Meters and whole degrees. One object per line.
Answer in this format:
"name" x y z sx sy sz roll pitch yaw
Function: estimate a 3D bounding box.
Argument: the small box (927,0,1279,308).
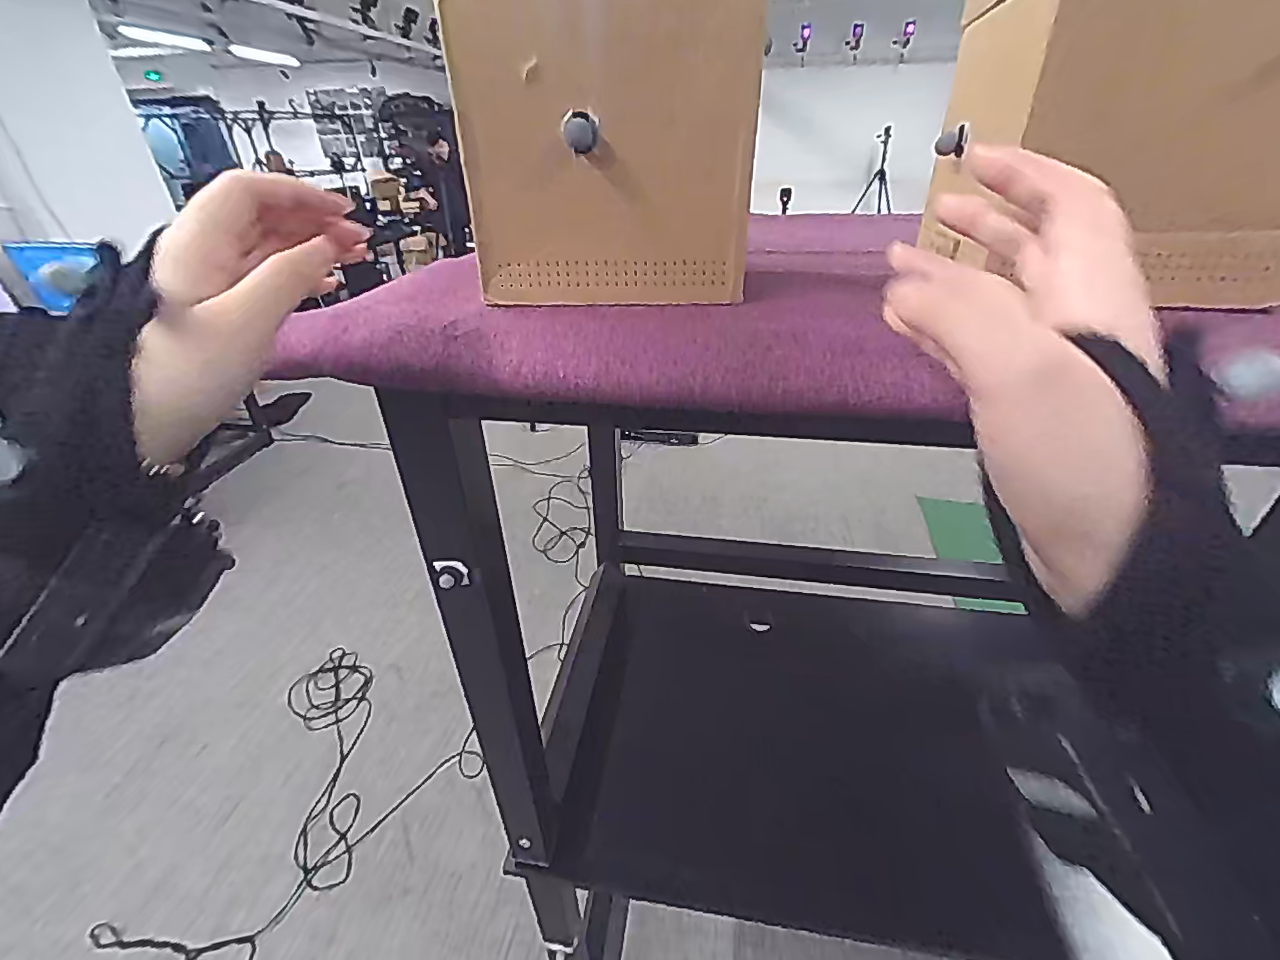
"small box" 0.313 -0.217 0.362 0.179 0.176 0.168 5 32 9

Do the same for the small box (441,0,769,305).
"small box" -0.014 -0.227 0.384 0.179 0.176 0.168 -1 33 1
